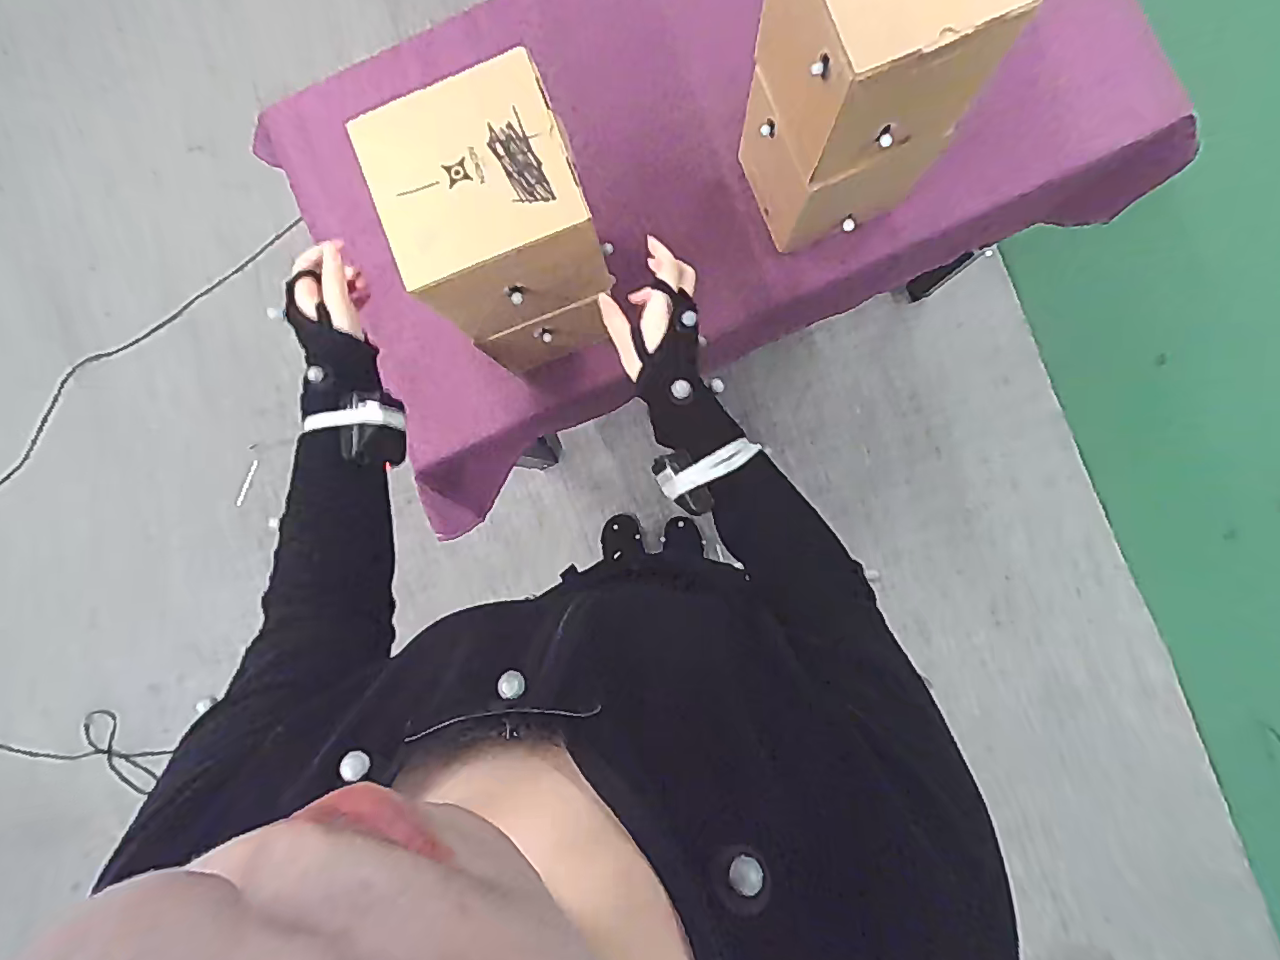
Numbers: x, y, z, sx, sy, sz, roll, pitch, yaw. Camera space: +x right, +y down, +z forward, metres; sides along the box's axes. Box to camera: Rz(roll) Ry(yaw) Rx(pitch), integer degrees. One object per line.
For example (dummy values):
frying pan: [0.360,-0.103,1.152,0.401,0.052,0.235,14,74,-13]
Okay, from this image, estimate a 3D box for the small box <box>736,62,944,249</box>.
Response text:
small box: [0.241,-0.435,0.699,0.179,0.176,0.168,-22,87,2]

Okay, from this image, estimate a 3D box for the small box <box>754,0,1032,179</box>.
small box: [0.227,-0.448,0.537,0.168,0.176,0.179,-21,89,3]

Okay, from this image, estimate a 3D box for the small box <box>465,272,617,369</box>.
small box: [-0.143,-0.264,0.718,0.179,0.176,0.168,-20,89,2]

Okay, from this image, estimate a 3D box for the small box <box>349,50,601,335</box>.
small box: [-0.148,-0.271,0.554,0.179,0.176,0.168,-21,89,3]
